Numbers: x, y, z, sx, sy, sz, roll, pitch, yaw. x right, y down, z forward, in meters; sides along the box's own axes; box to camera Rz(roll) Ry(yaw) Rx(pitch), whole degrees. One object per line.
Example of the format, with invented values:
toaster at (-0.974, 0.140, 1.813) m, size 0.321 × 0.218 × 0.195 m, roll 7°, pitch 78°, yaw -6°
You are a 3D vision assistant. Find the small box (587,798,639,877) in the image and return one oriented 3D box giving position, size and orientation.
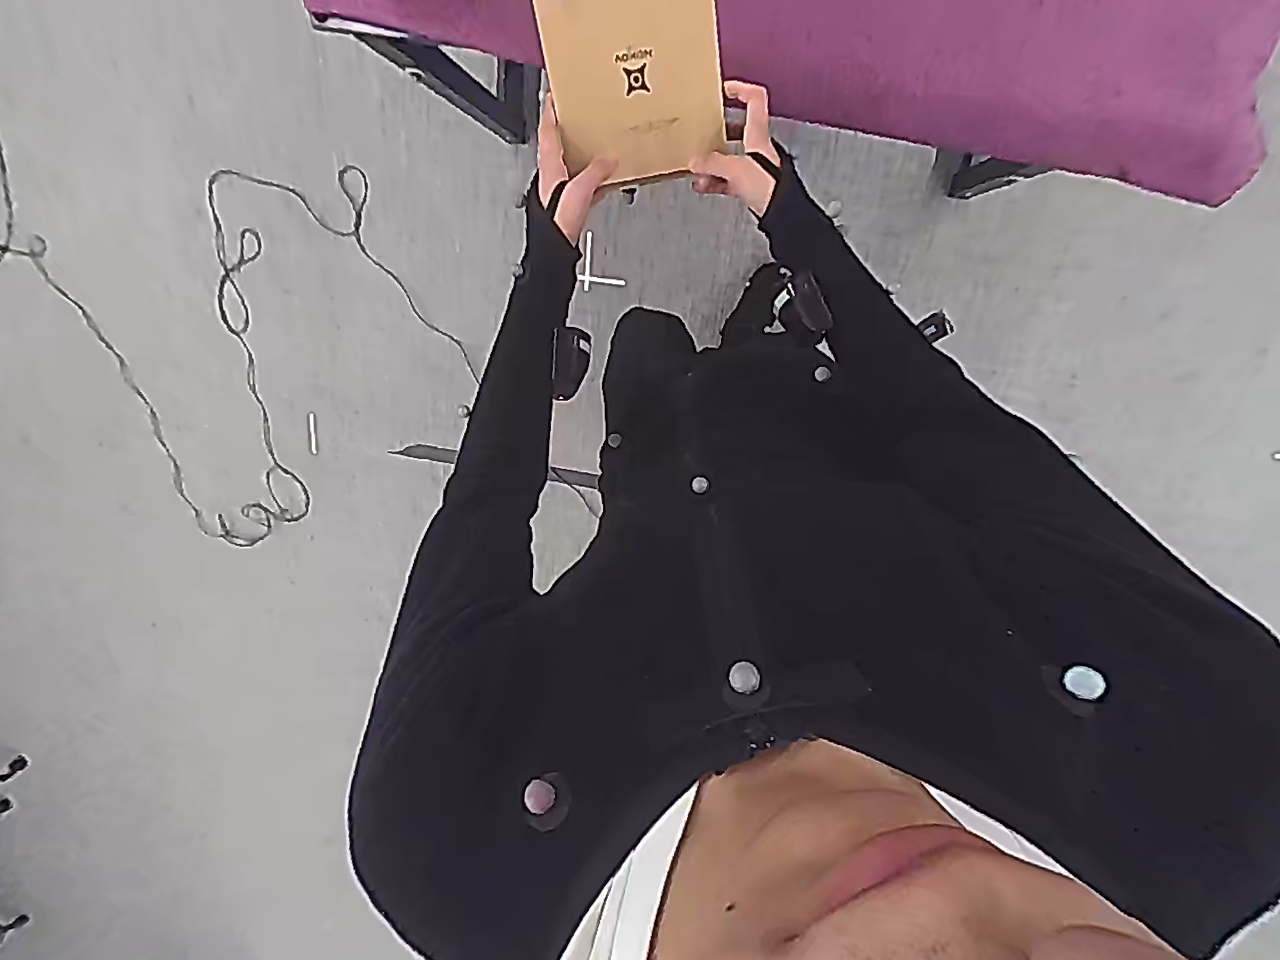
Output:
small box at (-0.100, 1.361, 2.064) m, size 0.168 × 0.176 × 0.179 m, roll 8°, pitch 108°, yaw 4°

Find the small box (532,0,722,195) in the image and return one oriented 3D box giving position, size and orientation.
small box at (-0.015, -0.423, 0.588) m, size 0.168 × 0.176 × 0.179 m, roll -10°, pitch 117°, yaw 1°
